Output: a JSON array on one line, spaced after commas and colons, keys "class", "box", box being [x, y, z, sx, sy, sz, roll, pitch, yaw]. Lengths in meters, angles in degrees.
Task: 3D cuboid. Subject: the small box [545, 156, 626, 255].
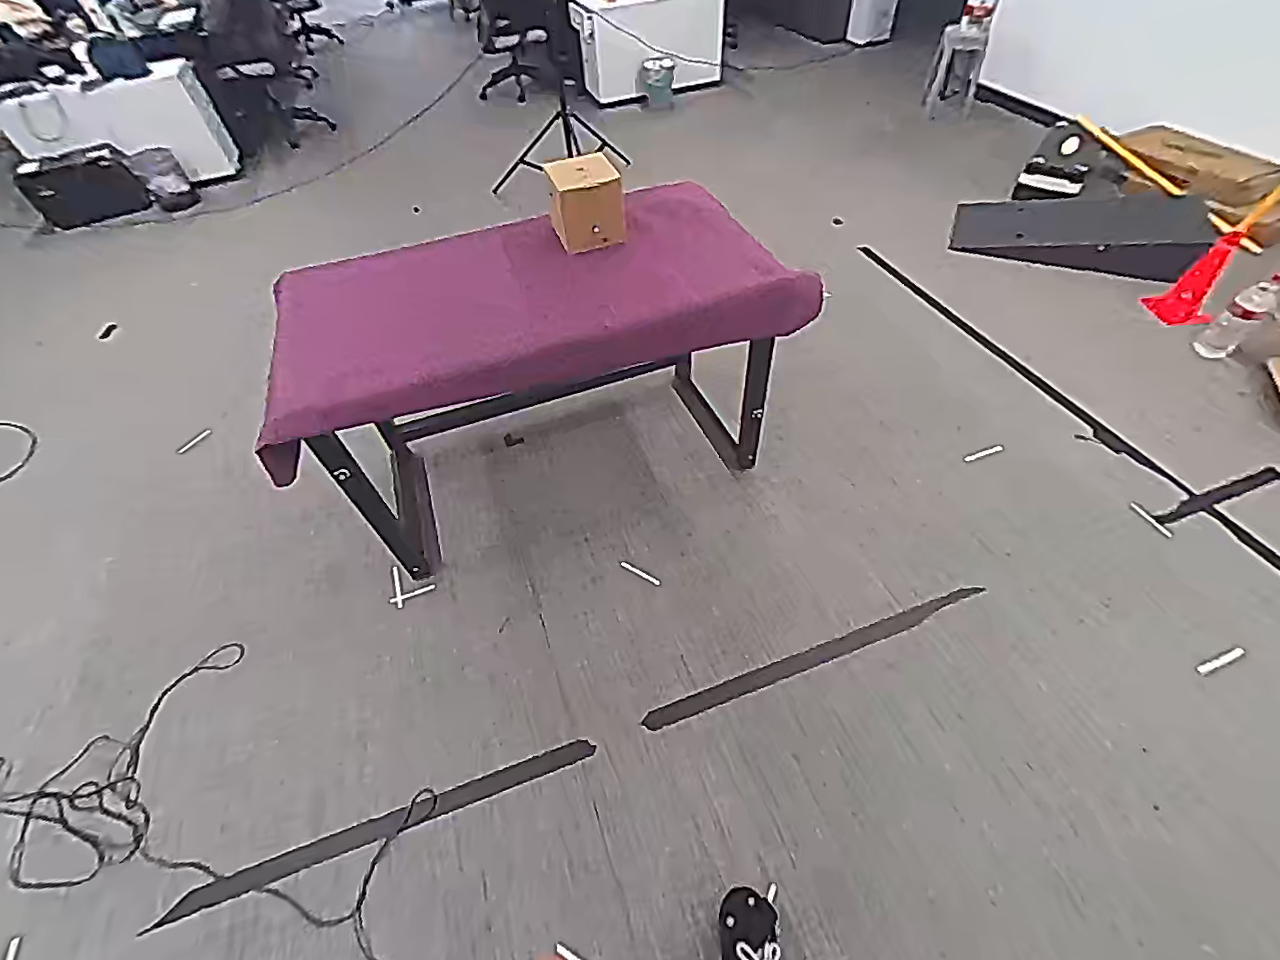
[{"class": "small box", "box": [-0.143, -0.733, 1.448, 0.168, 0.176, 0.179, -18, 54, -10]}]
